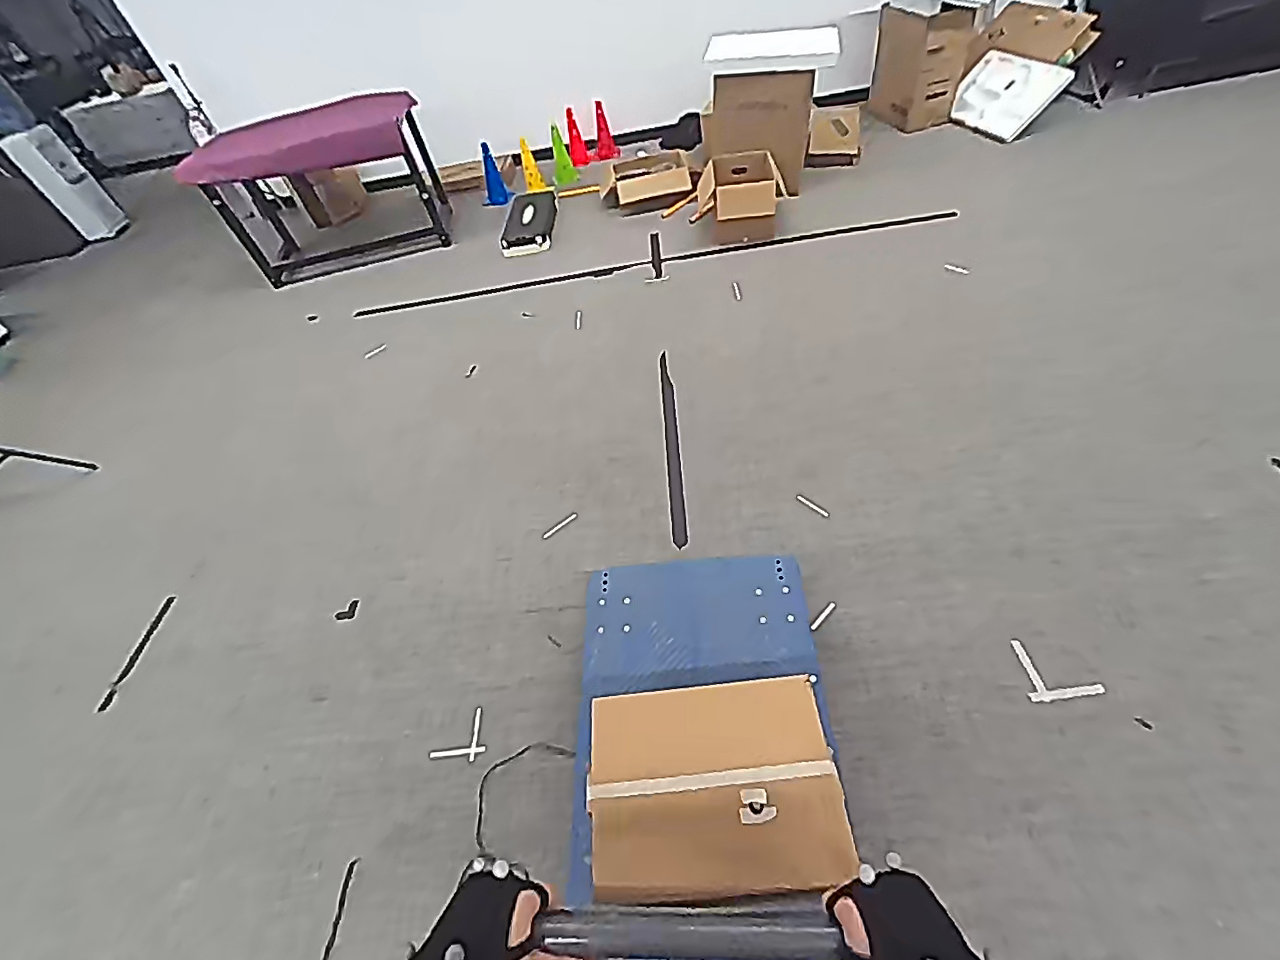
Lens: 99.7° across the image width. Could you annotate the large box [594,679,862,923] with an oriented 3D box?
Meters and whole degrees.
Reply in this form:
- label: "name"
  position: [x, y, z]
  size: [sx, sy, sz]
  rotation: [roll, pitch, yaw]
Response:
- label: "large box"
  position: [0.140, 0.605, 1.011]
  size: [0.408, 0.320, 0.320]
  rotation: [-8, 49, 3]
